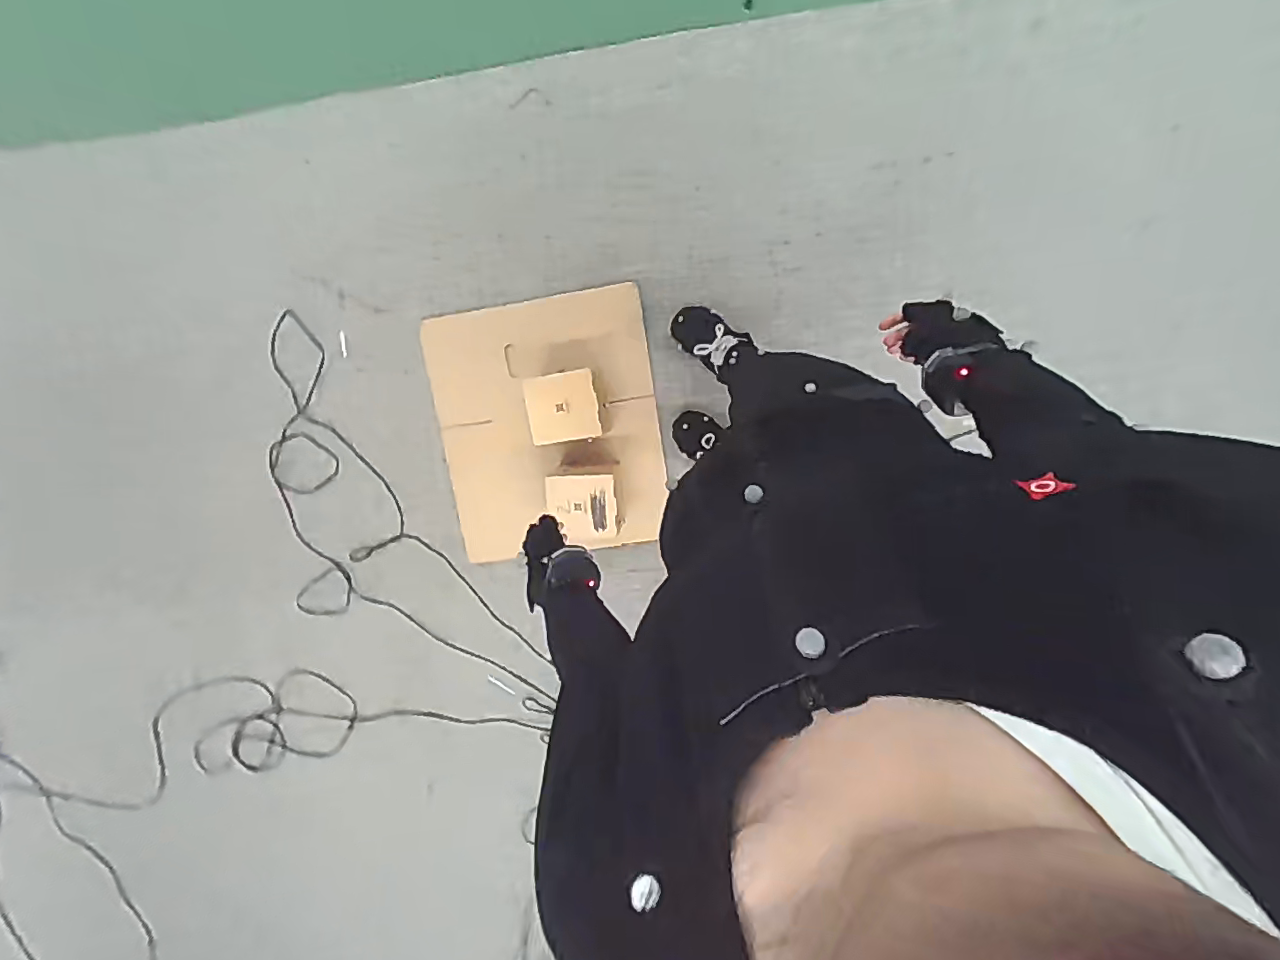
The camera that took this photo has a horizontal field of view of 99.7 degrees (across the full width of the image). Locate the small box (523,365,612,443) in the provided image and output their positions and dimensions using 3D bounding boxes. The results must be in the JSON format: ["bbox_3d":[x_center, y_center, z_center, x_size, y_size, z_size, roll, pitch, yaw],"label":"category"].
[{"bbox_3d":[-0.178,-0.195,1.381,0.179,0.176,0.168,-10,99,6],"label":"small box"}]
